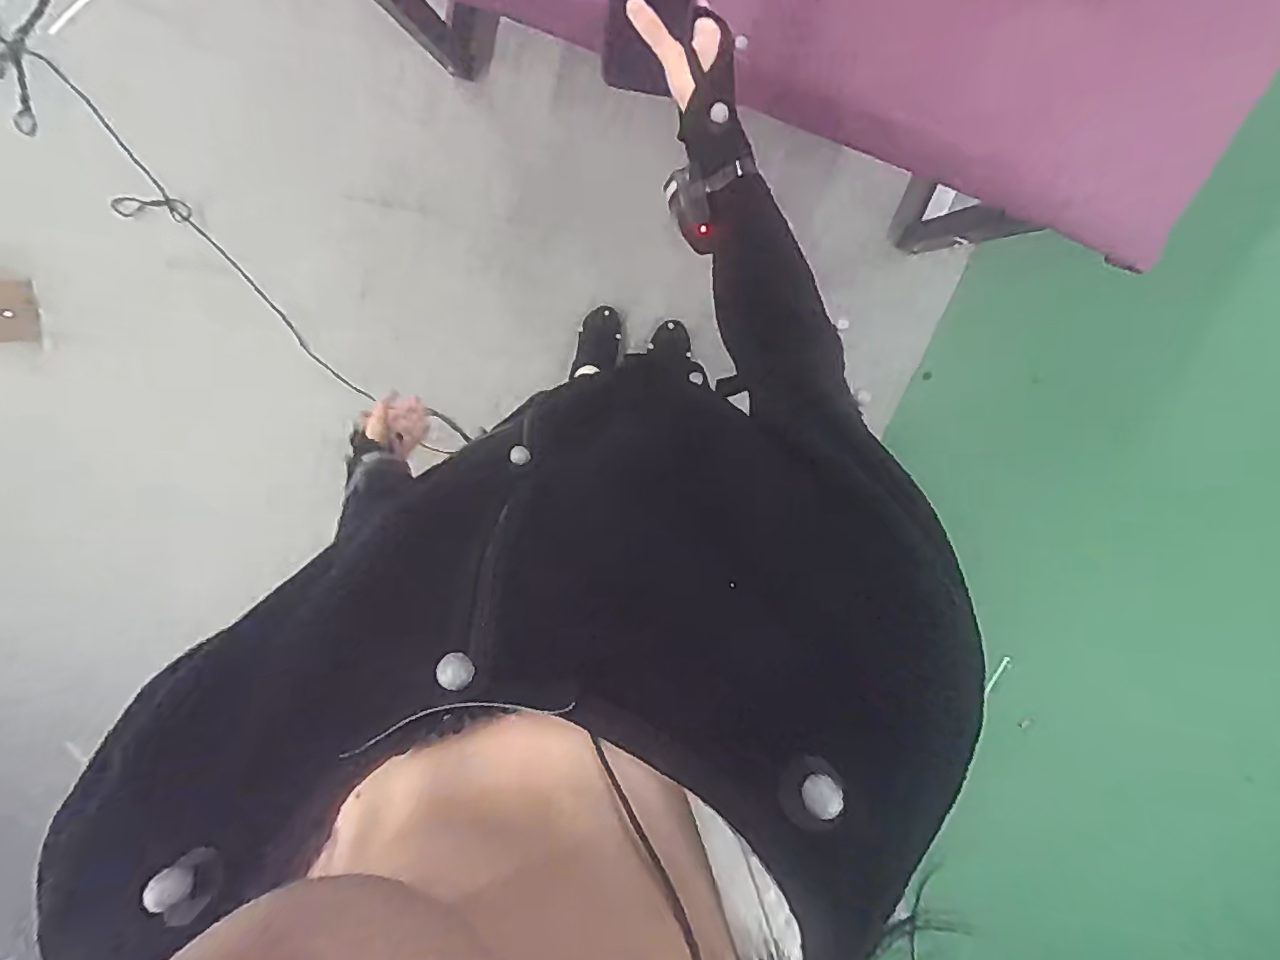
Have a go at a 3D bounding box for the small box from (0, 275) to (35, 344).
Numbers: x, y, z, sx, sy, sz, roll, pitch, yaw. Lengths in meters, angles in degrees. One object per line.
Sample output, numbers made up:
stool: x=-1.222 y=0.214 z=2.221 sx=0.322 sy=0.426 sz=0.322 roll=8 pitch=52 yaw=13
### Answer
small box: x=-1.764 y=-0.458 z=1.422 sx=0.179 sy=0.176 sz=0.168 roll=11 pitch=109 yaw=0
